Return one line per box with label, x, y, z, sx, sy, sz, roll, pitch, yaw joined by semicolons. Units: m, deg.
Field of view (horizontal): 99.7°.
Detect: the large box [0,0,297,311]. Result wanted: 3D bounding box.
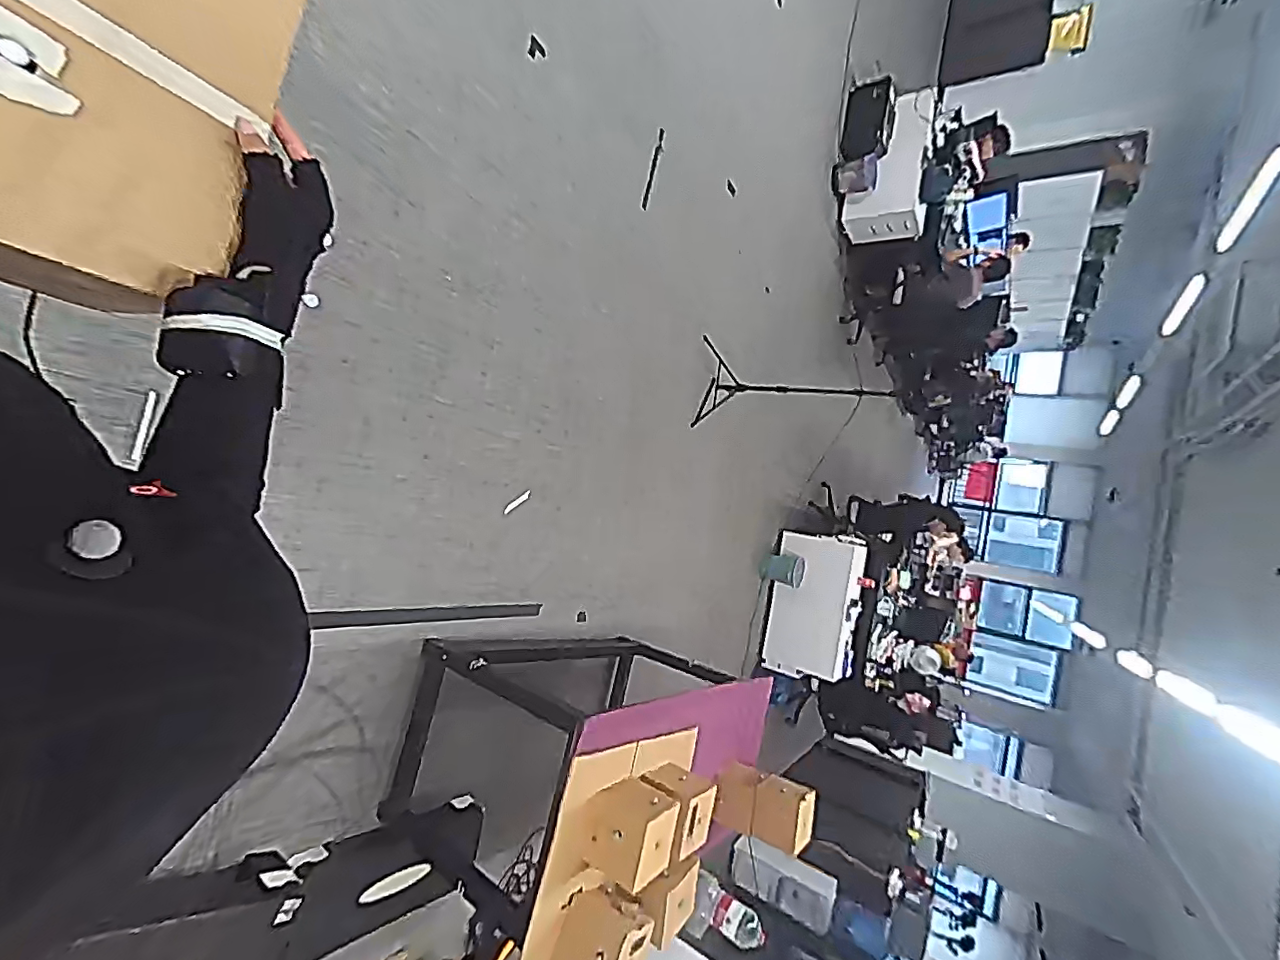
large box;-0.552;-0.342;0.373;0.408;0.320;0.320;17;87;-59
